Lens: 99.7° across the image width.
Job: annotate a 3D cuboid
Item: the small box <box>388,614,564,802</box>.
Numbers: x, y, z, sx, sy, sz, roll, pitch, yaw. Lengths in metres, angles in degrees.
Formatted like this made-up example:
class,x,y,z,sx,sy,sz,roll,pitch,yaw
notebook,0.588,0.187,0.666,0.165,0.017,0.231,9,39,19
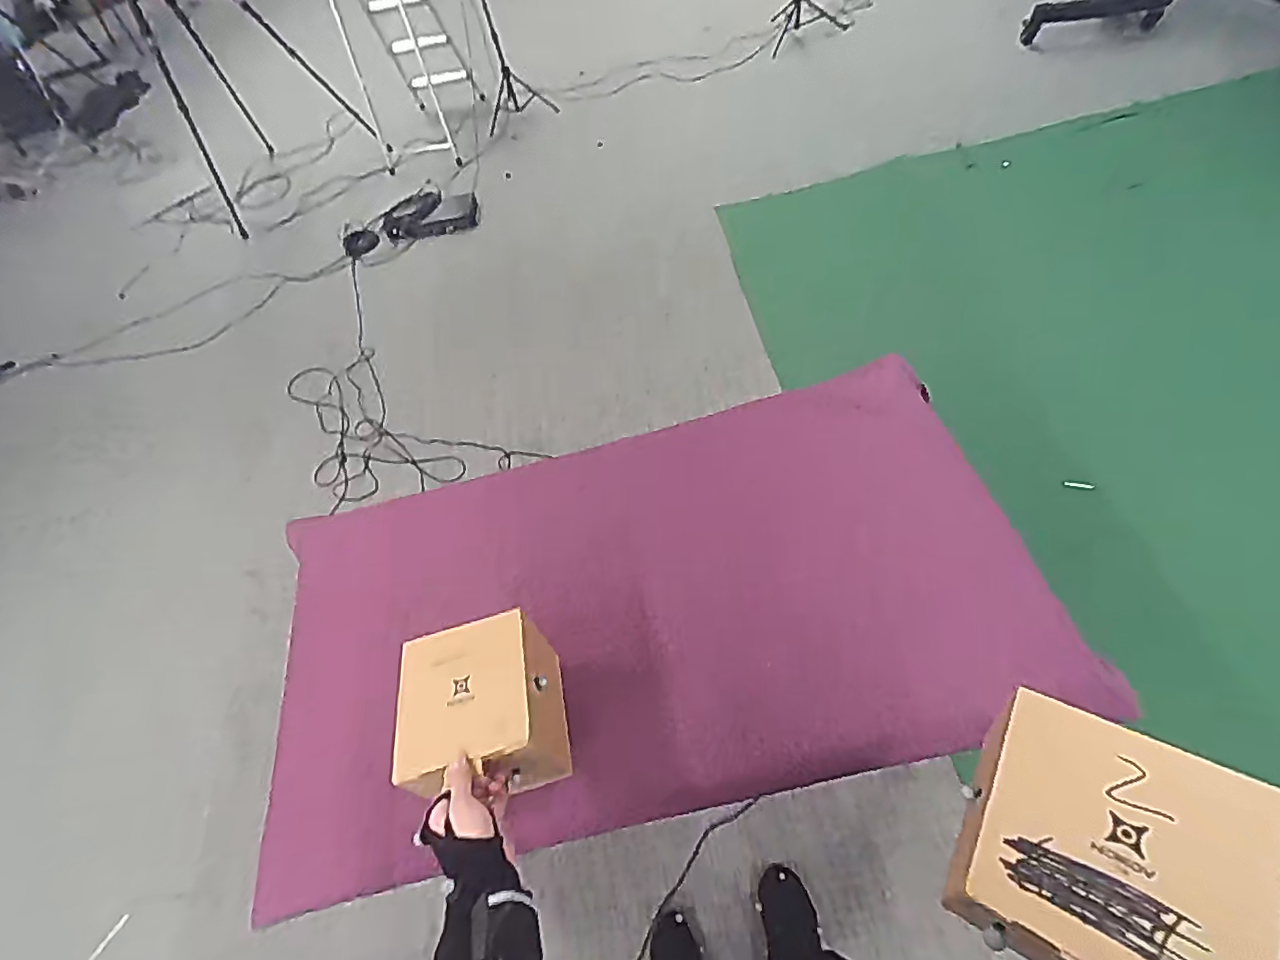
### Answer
class,x,y,z,sx,sy,sz,roll,pitch,yaw
small box,-0.208,0.311,0.723,0.168,0.176,0.179,-16,48,0
